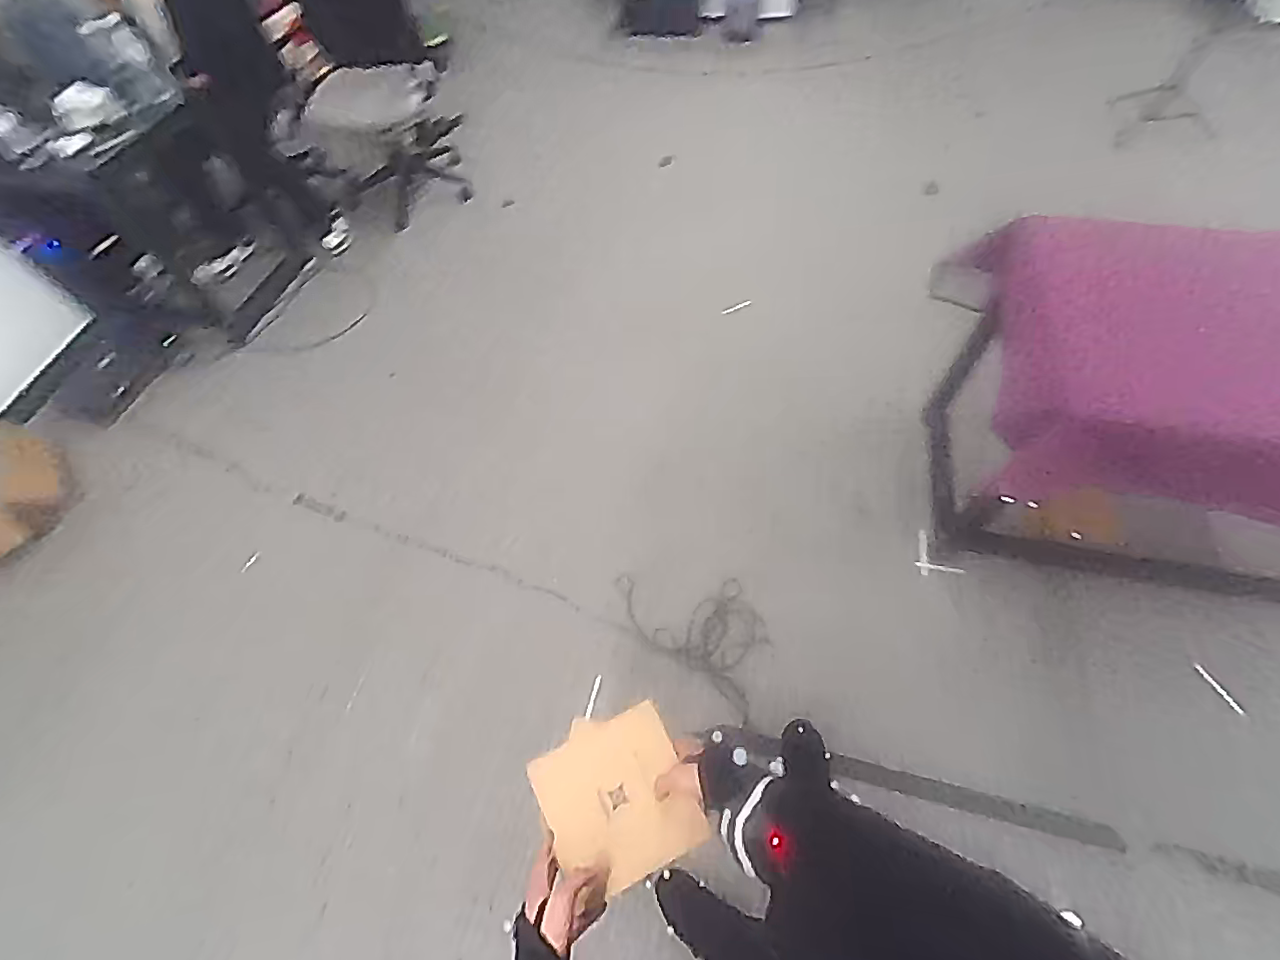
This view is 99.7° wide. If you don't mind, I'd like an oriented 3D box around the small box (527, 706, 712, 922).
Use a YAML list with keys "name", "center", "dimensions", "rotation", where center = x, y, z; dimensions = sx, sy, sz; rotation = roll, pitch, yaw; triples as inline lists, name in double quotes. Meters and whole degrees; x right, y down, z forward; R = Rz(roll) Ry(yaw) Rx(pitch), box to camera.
- name: "small box"
  center: [-0.018, 0.420, 0.695]
  dimensions: [0.179, 0.176, 0.168]
  rotation: [-25, 59, -7]
